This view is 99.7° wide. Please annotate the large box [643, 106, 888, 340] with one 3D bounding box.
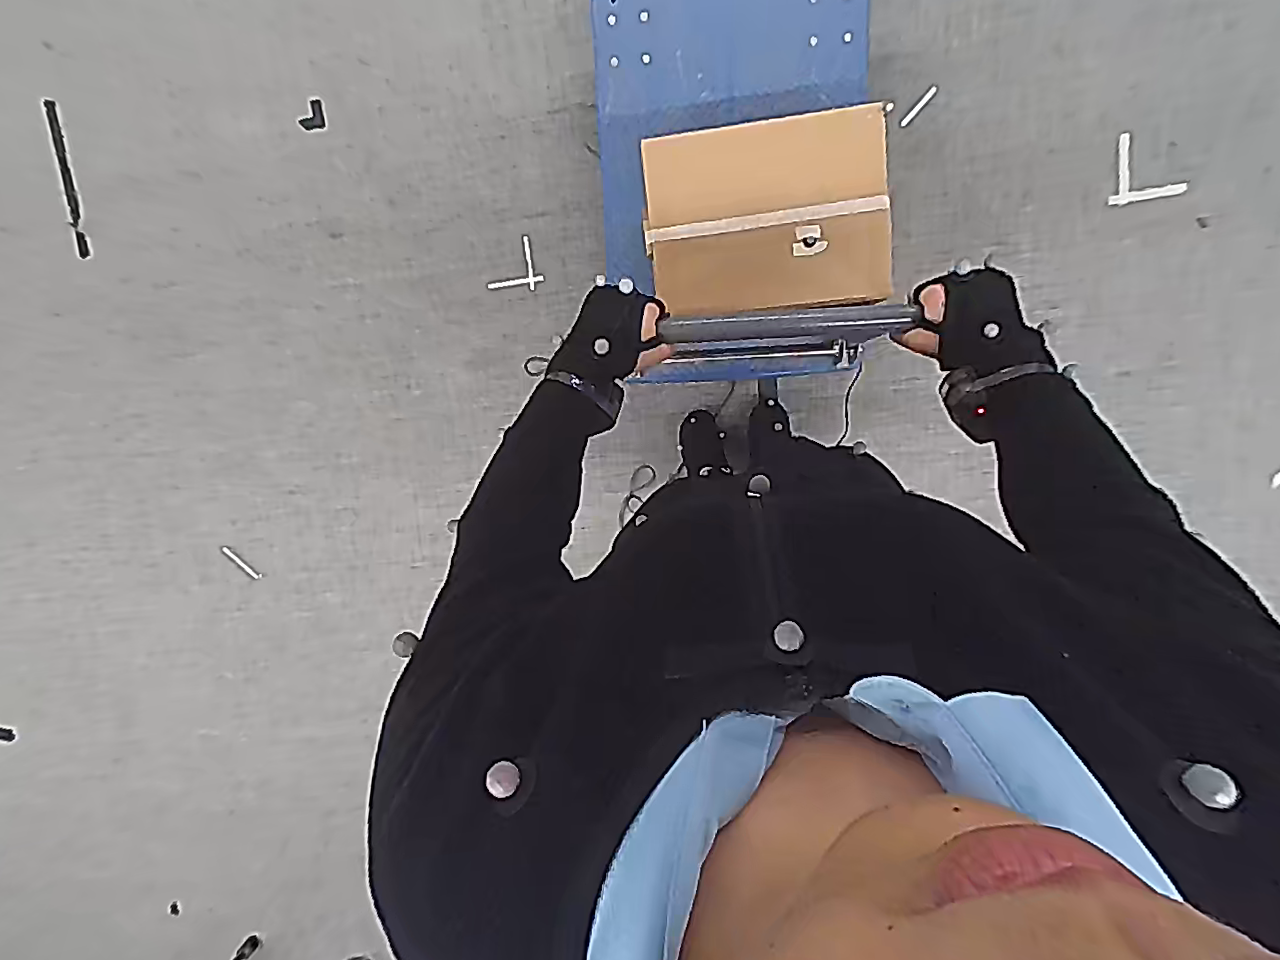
[{"bbox_3d":[0.228,-0.475,1.085,0.408,0.320,0.320,-6,100,4],"label":"large box"}]
